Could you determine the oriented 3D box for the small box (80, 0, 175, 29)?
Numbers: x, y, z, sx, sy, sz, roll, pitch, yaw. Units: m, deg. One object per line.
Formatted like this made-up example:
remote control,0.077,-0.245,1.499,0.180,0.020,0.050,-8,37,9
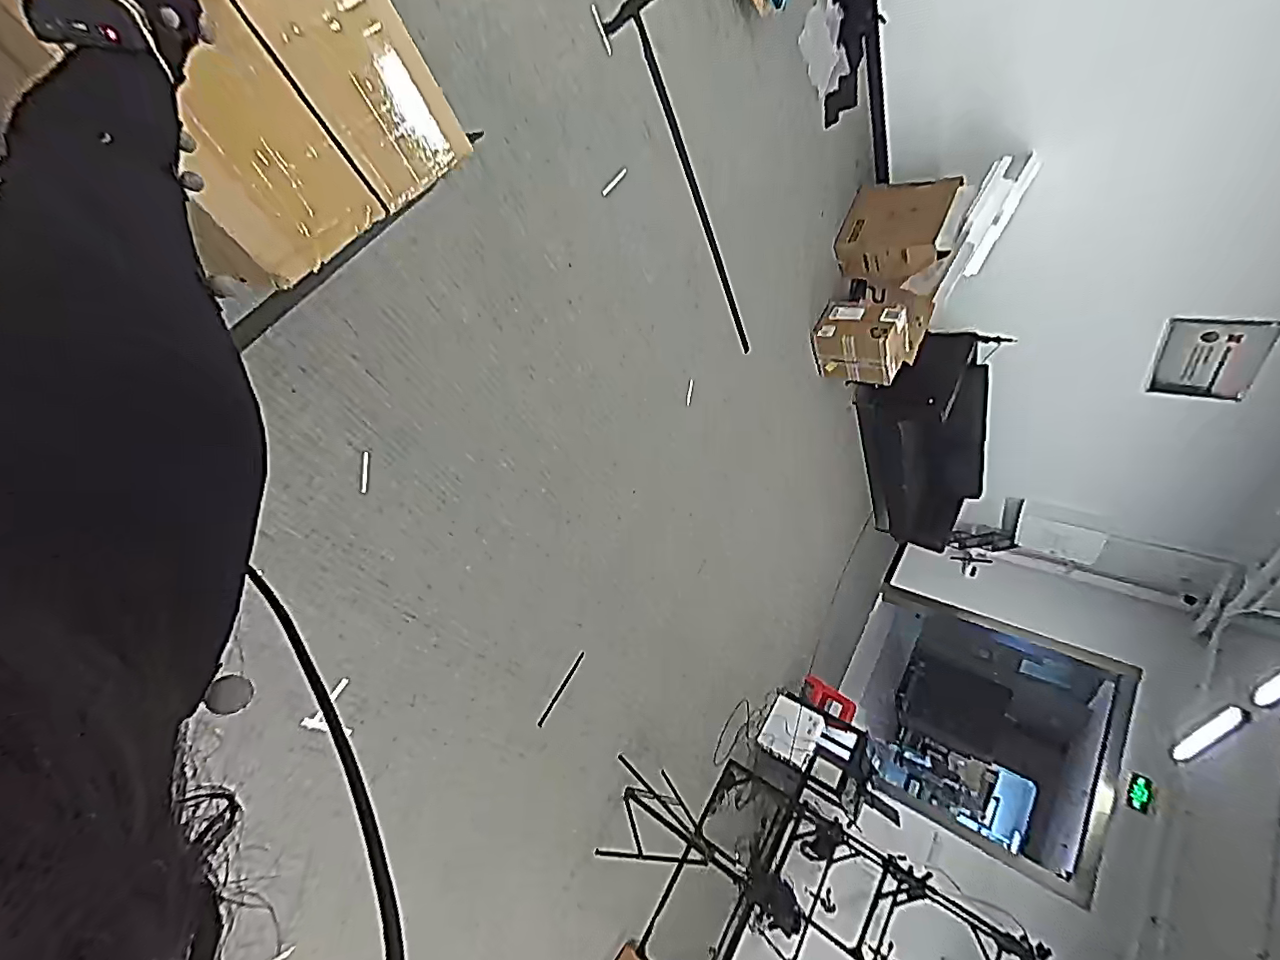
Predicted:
small box,-0.508,-0.579,0.509,0.168,0.176,0.179,-54,141,-20
